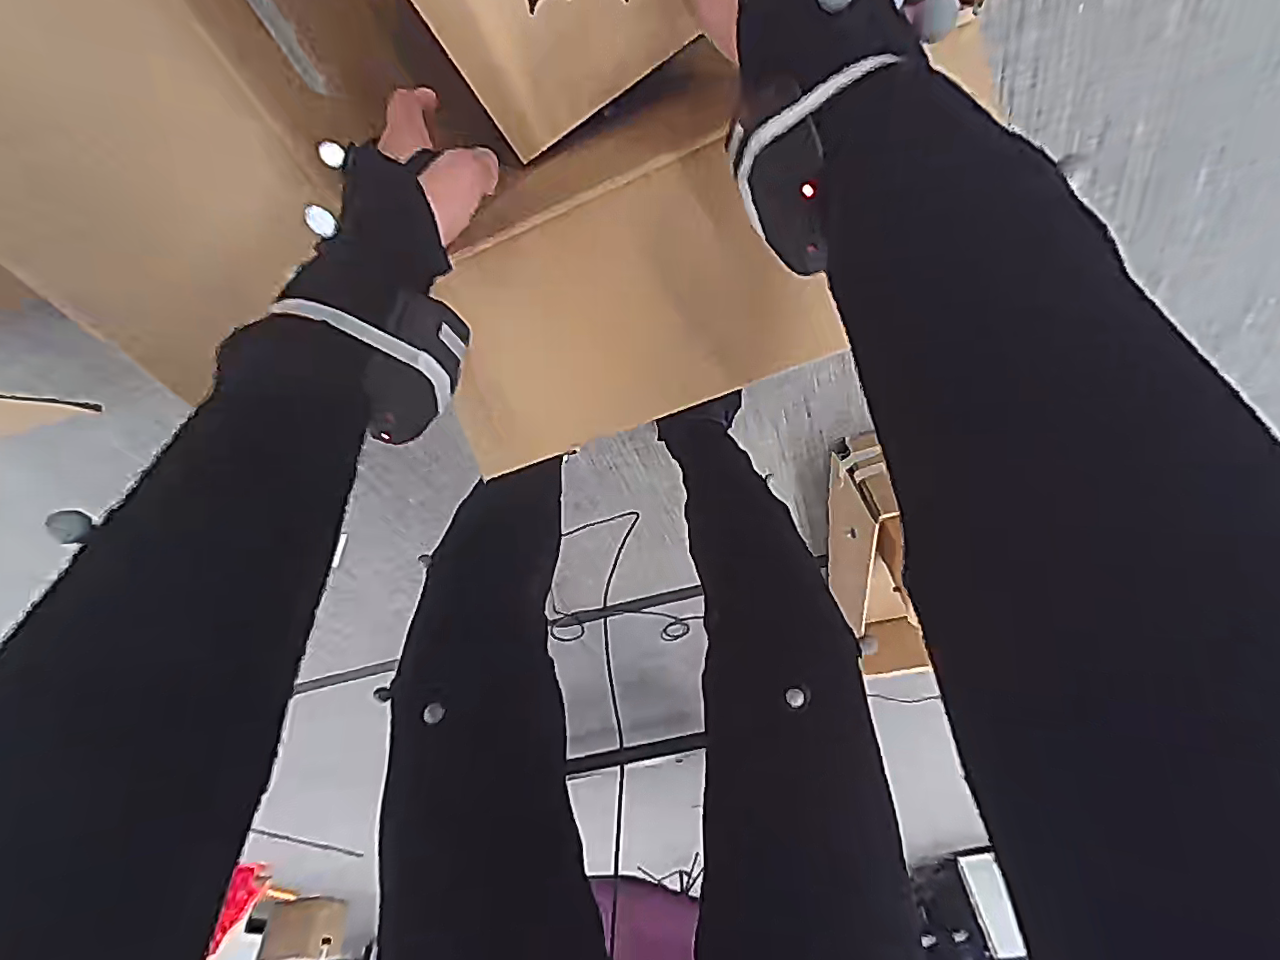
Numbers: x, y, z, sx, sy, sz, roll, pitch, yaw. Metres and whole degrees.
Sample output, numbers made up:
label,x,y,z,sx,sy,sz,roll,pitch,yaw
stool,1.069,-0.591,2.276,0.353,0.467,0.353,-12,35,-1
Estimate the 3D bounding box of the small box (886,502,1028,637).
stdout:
label,x,y,z,sx,sy,sz,roll,pitch,yaw
small box,0.579,0.168,1.018,0.179,0.176,0.168,-16,136,11
